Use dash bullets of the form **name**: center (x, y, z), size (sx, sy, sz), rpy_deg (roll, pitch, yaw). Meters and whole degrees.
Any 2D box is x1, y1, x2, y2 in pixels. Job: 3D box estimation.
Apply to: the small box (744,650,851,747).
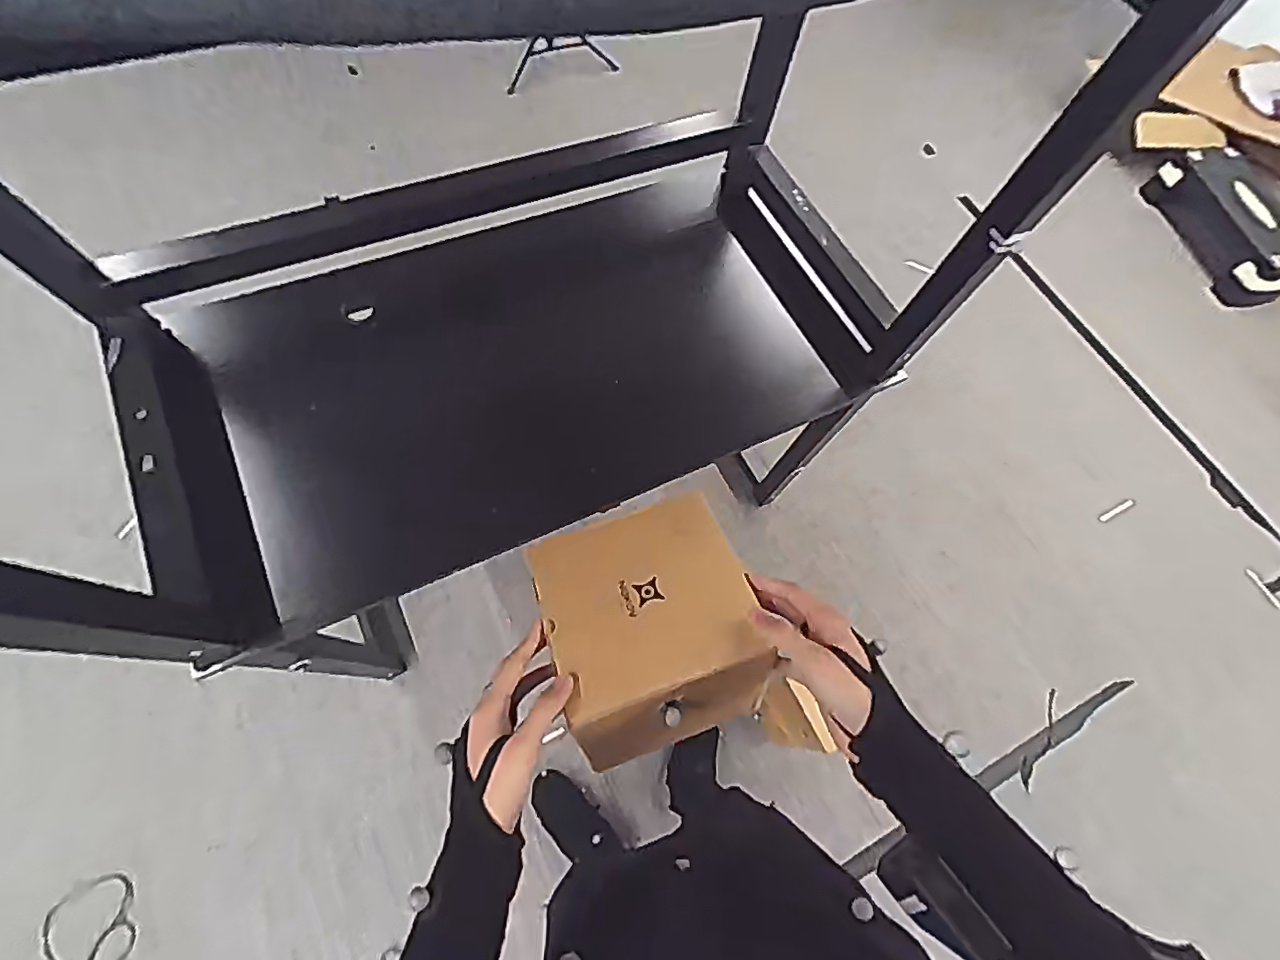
- **small box**: center (0.394, 0.554, 1.383), size (0.179, 0.176, 0.168), rpy_deg (-25, 73, -14)
